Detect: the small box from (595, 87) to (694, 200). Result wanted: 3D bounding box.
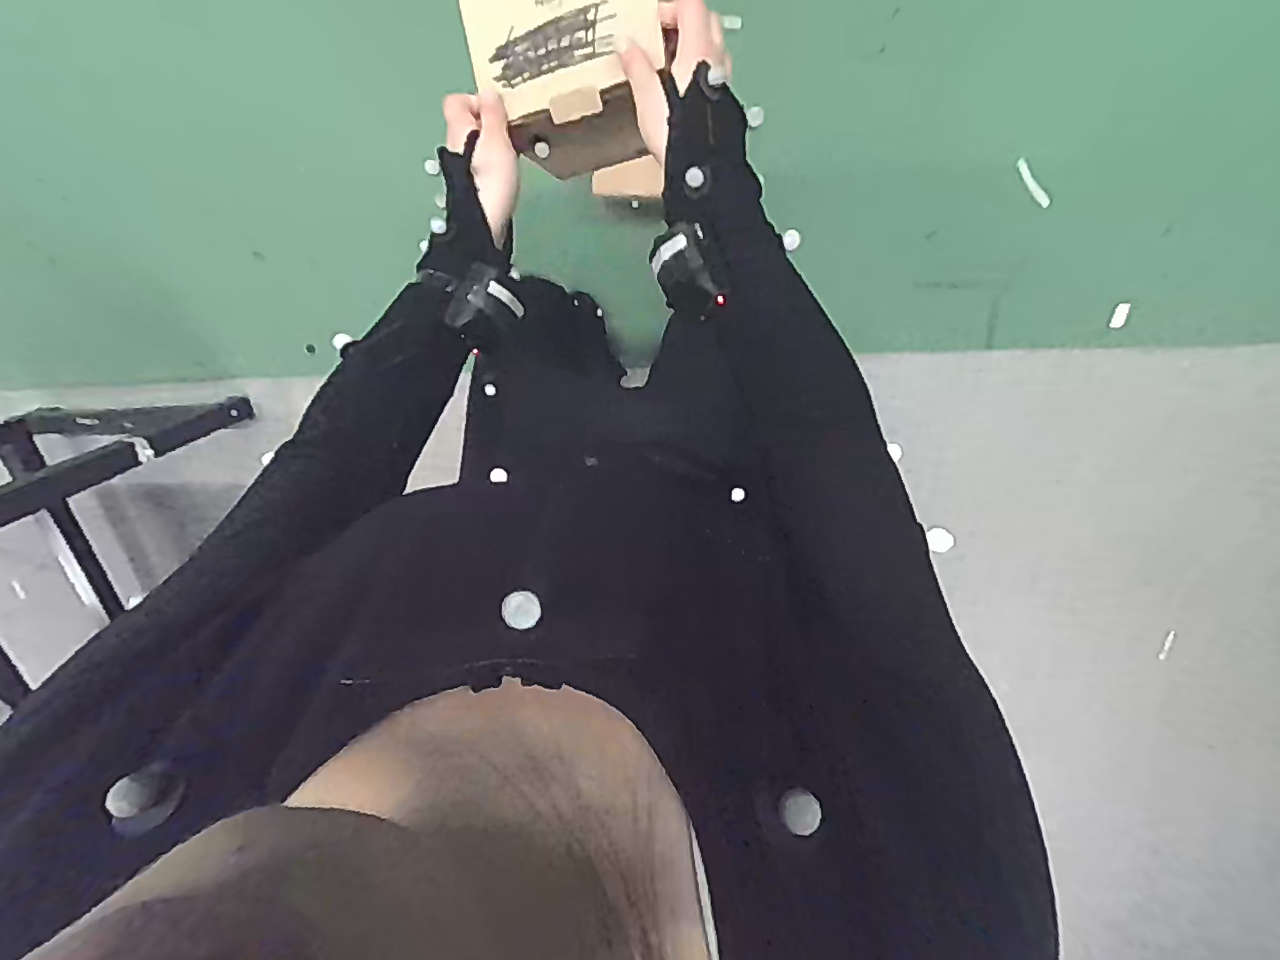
[{"bbox_3d":[0.008,-0.640,1.044,0.179,0.176,0.168,2,115,2],"label":"small box"}]
